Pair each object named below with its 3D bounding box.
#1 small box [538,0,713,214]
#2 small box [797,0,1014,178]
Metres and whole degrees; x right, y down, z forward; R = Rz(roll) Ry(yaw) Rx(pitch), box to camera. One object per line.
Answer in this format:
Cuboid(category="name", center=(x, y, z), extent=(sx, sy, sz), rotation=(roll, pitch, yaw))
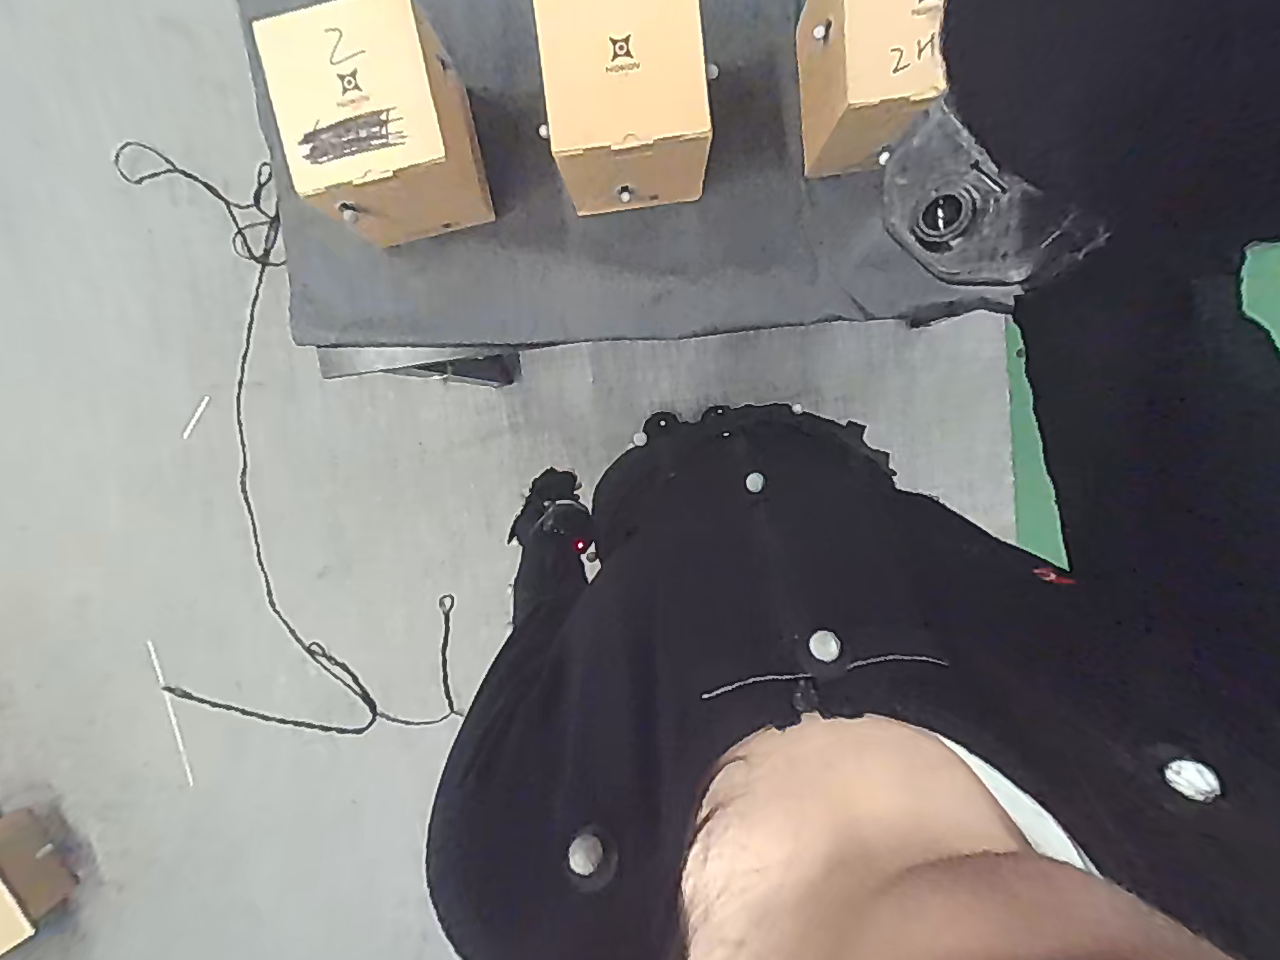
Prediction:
Cuboid(category="small box", center=(-0.014, -0.435, 0.621), extent=(0.168, 0.176, 0.179), rotation=(-7, 97, 2))
Cuboid(category="small box", center=(0.281, -0.473, 0.607), extent=(0.168, 0.176, 0.179), rotation=(-6, 97, 3))
